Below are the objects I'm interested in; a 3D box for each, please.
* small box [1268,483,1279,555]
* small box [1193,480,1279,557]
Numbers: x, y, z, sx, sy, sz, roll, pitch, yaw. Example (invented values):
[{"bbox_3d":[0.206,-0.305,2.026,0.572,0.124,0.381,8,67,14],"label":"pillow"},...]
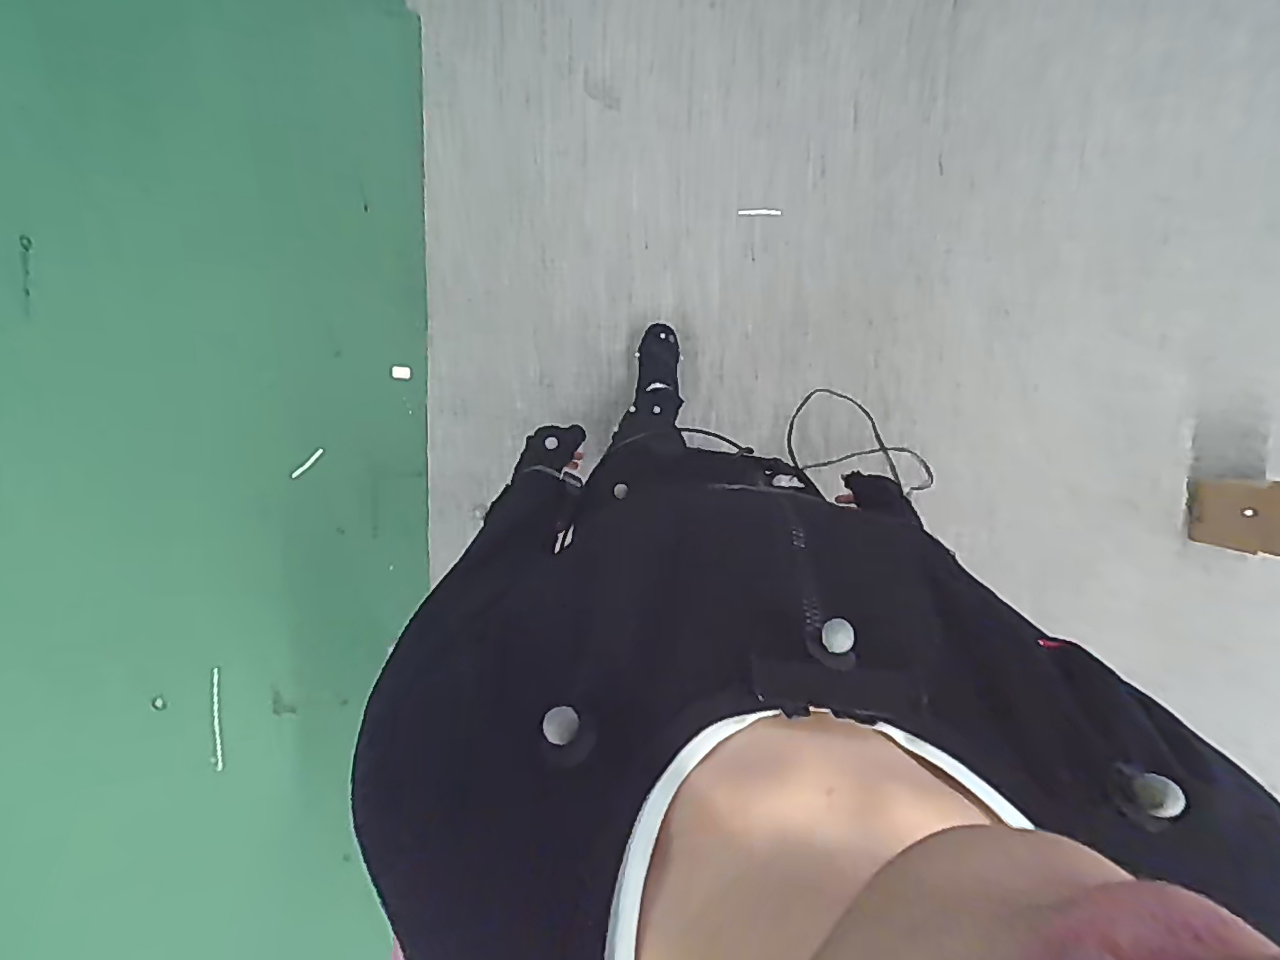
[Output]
[{"bbox_3d":[1.526,0.094,1.159,0.168,0.176,0.179,1,96,3],"label":"small box"},{"bbox_3d":[1.531,0.091,1.322,0.179,0.176,0.168,1,95,2],"label":"small box"}]
